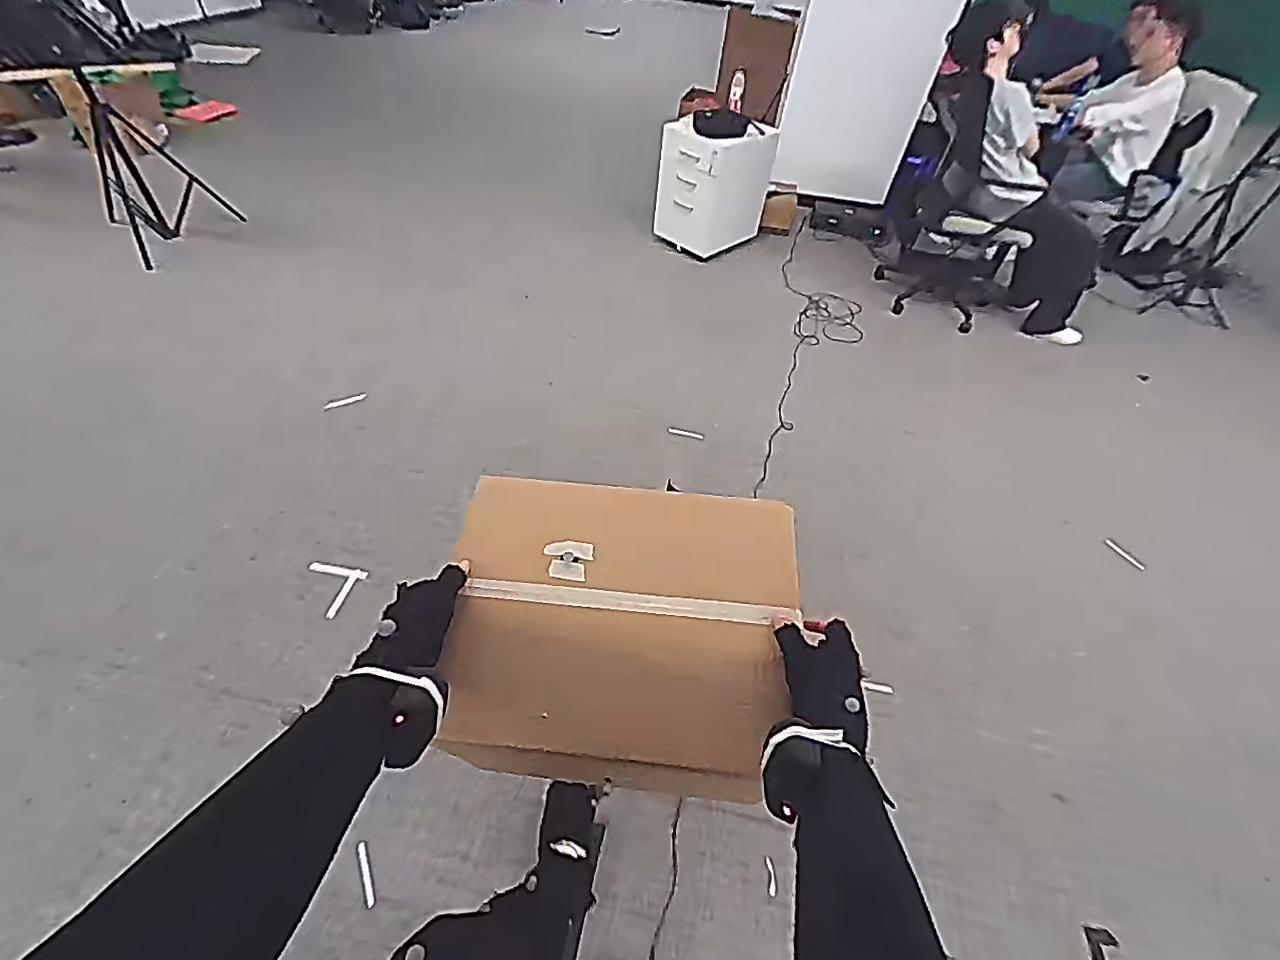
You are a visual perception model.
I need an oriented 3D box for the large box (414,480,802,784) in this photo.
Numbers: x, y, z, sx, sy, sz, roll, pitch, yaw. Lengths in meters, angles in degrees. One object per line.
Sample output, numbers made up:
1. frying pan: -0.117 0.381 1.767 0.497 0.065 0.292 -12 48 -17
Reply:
1. large box: -0.020 0.221 0.749 0.408 0.320 0.320 5 56 4
